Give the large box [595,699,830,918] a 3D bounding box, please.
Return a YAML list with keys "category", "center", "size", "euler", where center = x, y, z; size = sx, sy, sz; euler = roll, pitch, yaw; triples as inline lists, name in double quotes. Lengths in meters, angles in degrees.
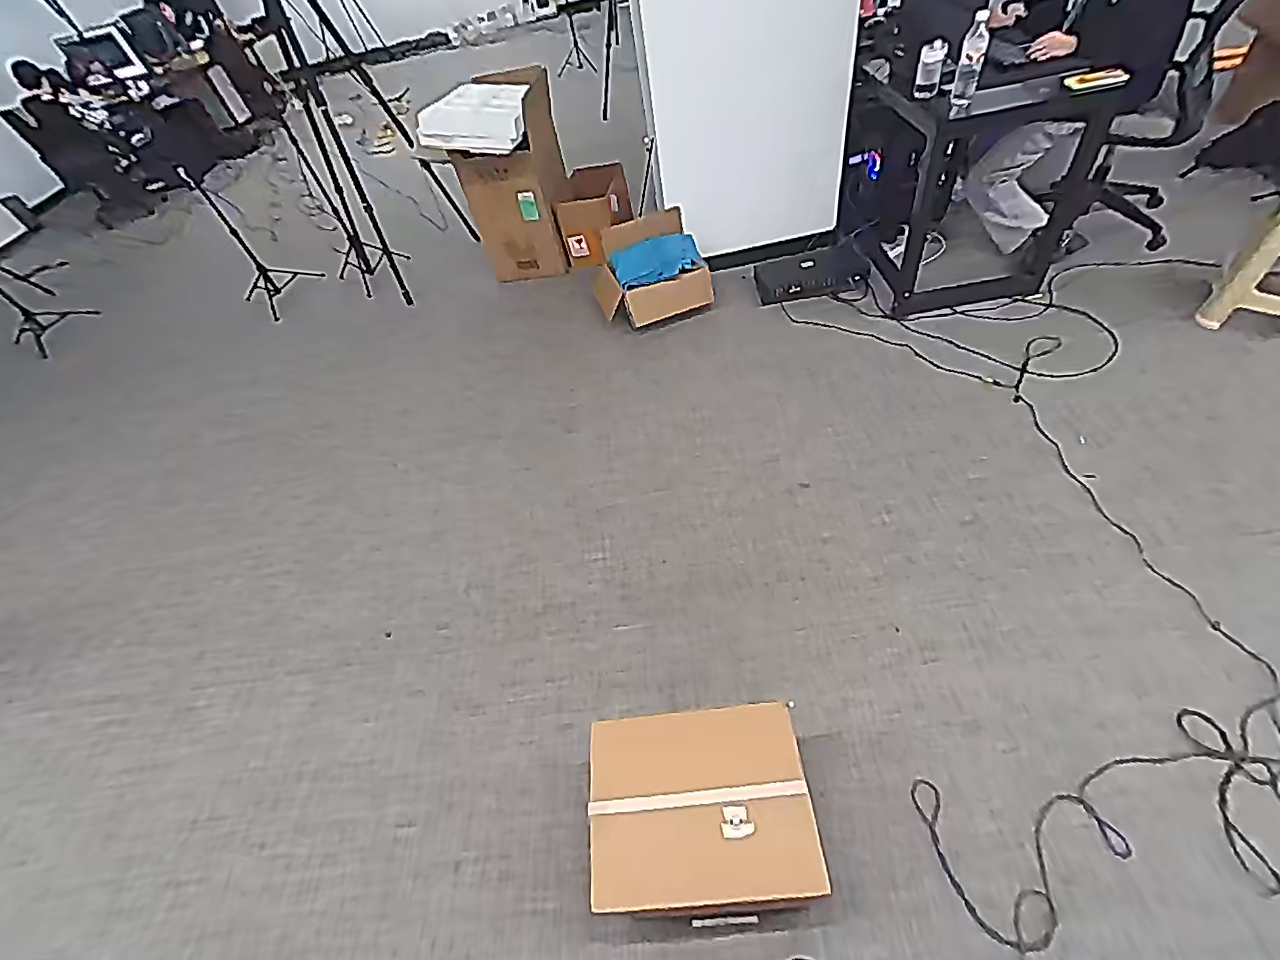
- category: "large box"
  center: [0.133, 0.682, 1.115]
  size: [0.408, 0.320, 0.320]
  euler: [-8, 49, 4]
